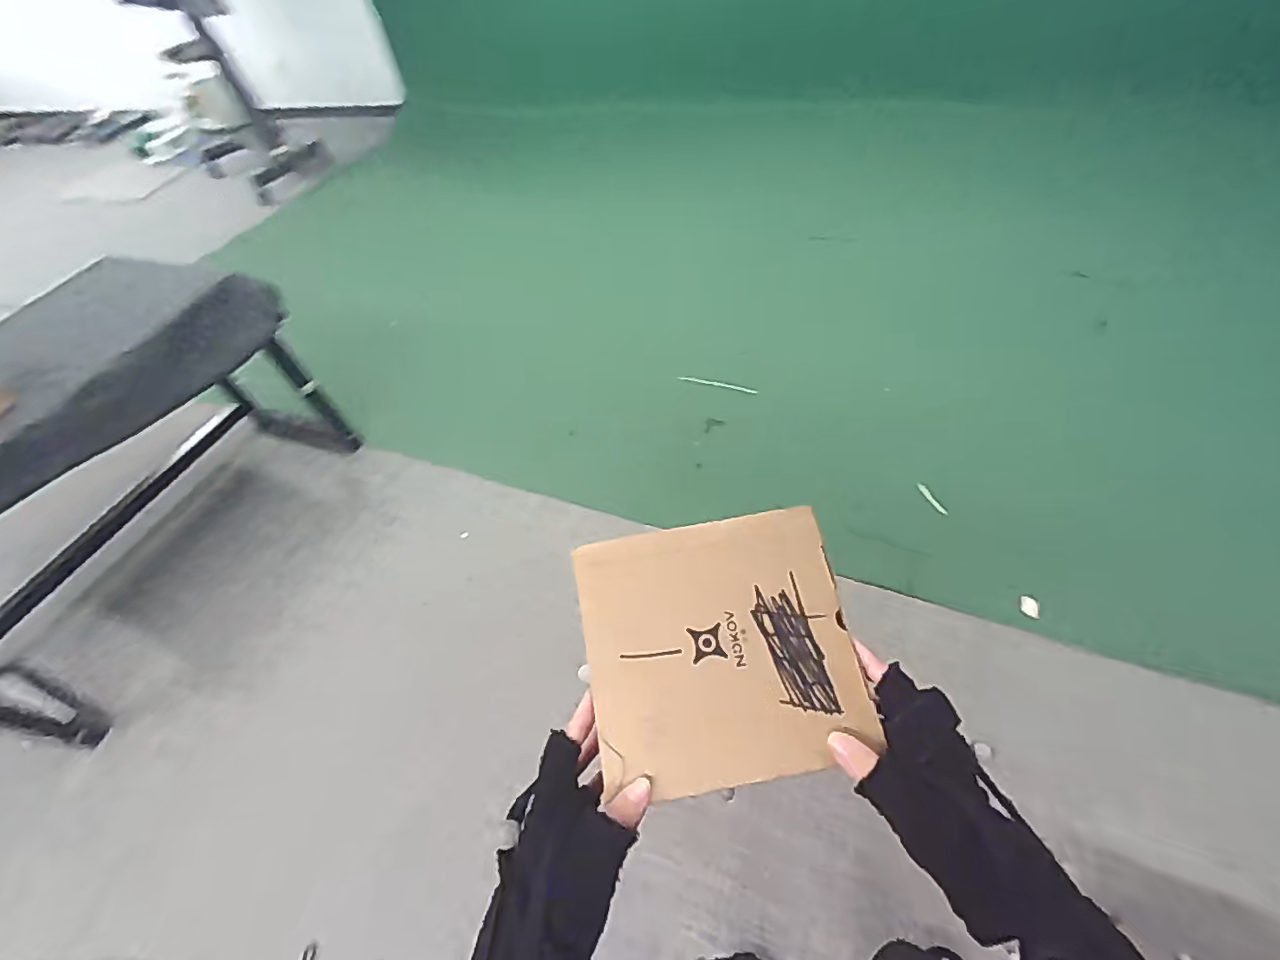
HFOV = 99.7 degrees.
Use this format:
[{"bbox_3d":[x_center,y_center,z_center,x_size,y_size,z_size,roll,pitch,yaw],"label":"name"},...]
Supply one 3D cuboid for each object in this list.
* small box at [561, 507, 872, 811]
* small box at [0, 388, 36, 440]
[{"bbox_3d":[0.045,0.138,0.429,0.179,0.176,0.168,-12,67,-3],"label":"small box"},{"bbox_3d":[-1.567,-0.161,1.226,0.168,0.176,0.179,15,56,21],"label":"small box"}]
